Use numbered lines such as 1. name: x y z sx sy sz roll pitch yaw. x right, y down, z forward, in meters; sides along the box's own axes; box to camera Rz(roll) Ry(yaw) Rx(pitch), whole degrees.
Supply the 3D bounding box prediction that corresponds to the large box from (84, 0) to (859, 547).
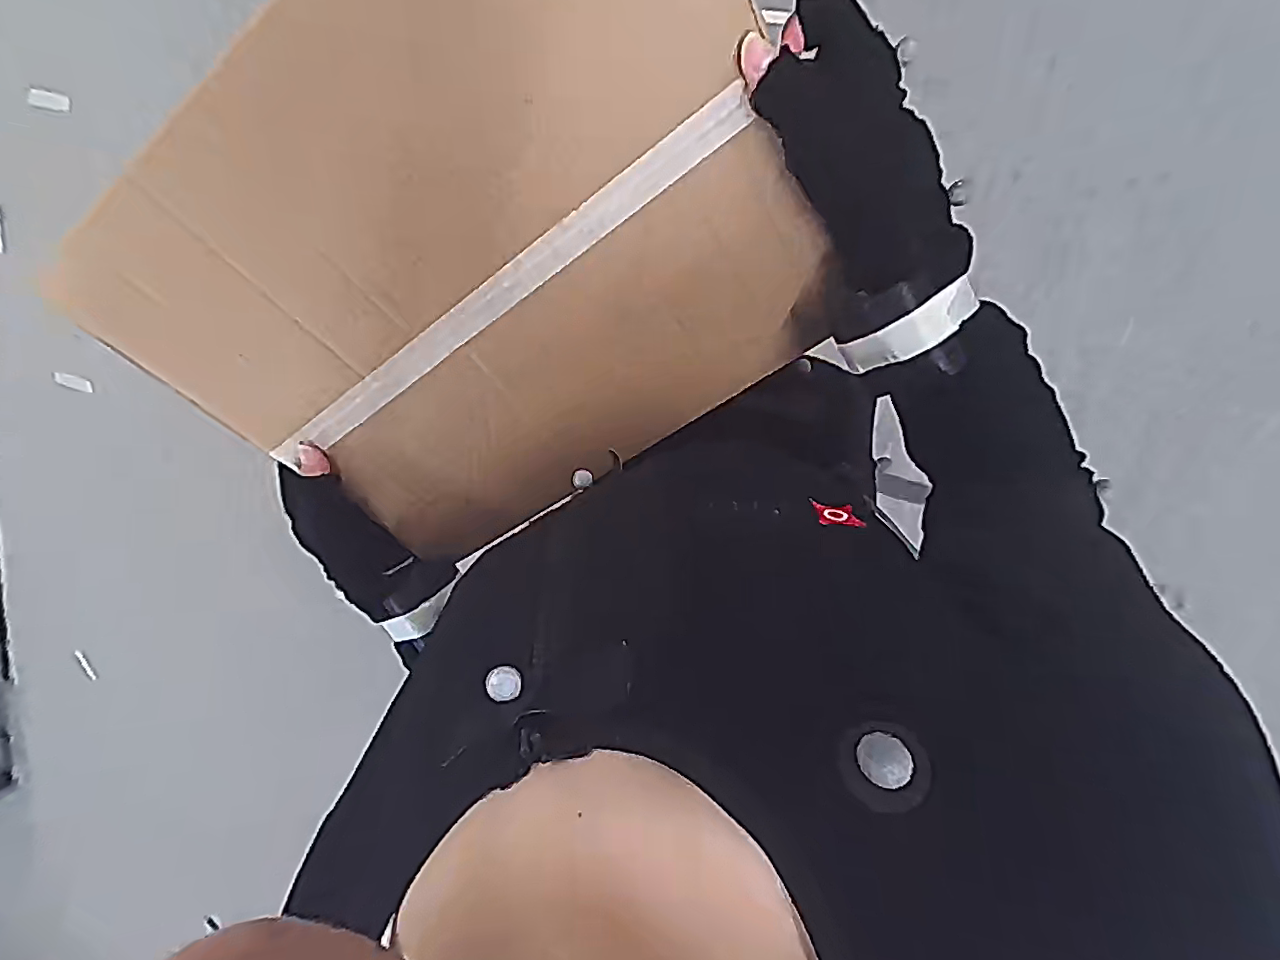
1. large box: -0.103 -0.218 0.463 0.408 0.320 0.320 -29 126 17
